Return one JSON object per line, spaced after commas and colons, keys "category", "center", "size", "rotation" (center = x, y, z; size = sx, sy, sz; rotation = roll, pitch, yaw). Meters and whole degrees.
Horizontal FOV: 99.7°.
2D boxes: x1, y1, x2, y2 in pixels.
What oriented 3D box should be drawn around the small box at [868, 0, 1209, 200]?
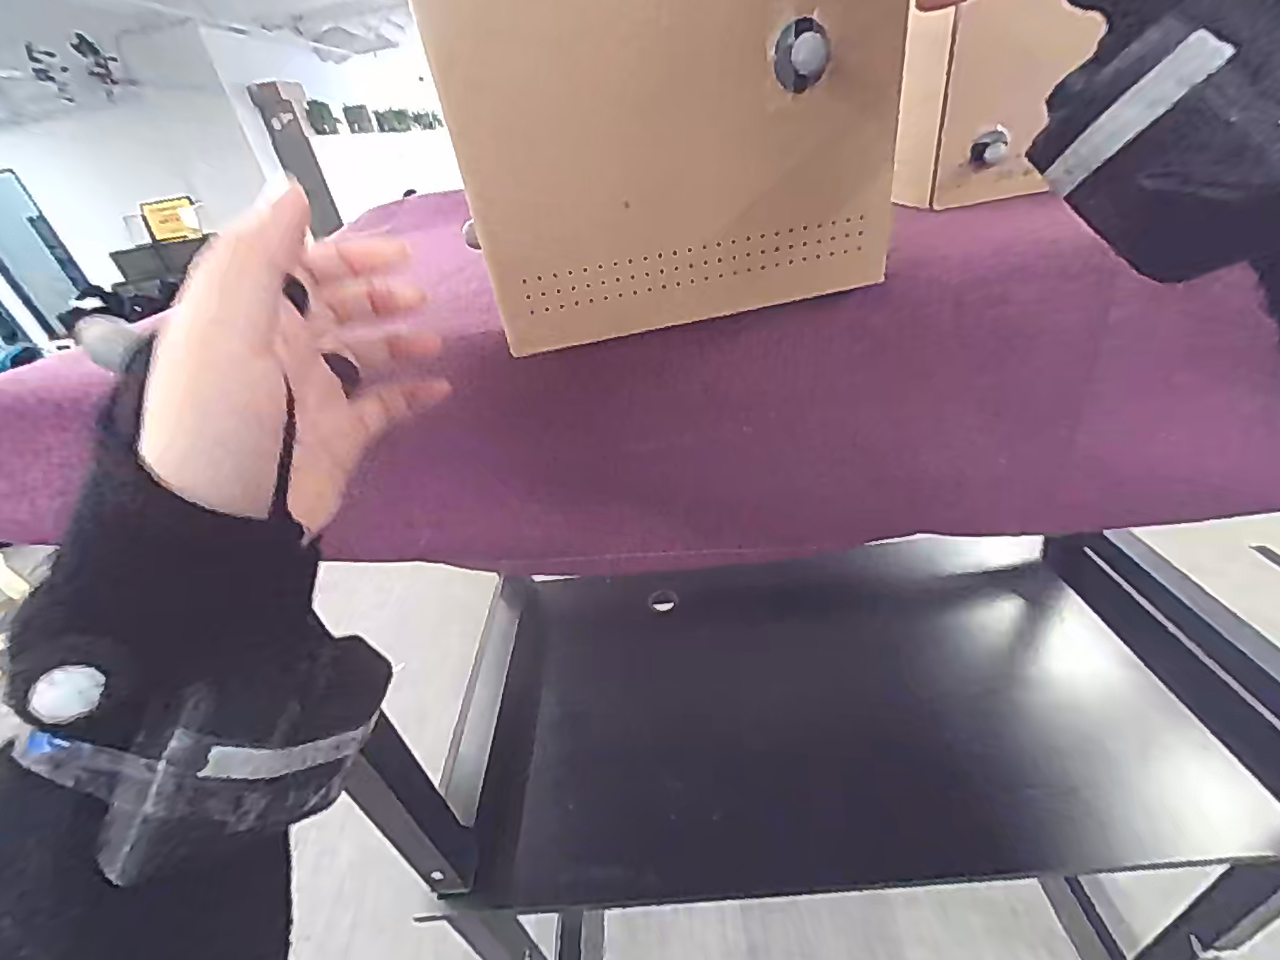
{"category": "small box", "center": [0.247, -0.305, 0.381], "size": [0.168, 0.176, 0.179], "rotation": [-10, 32, -1]}
